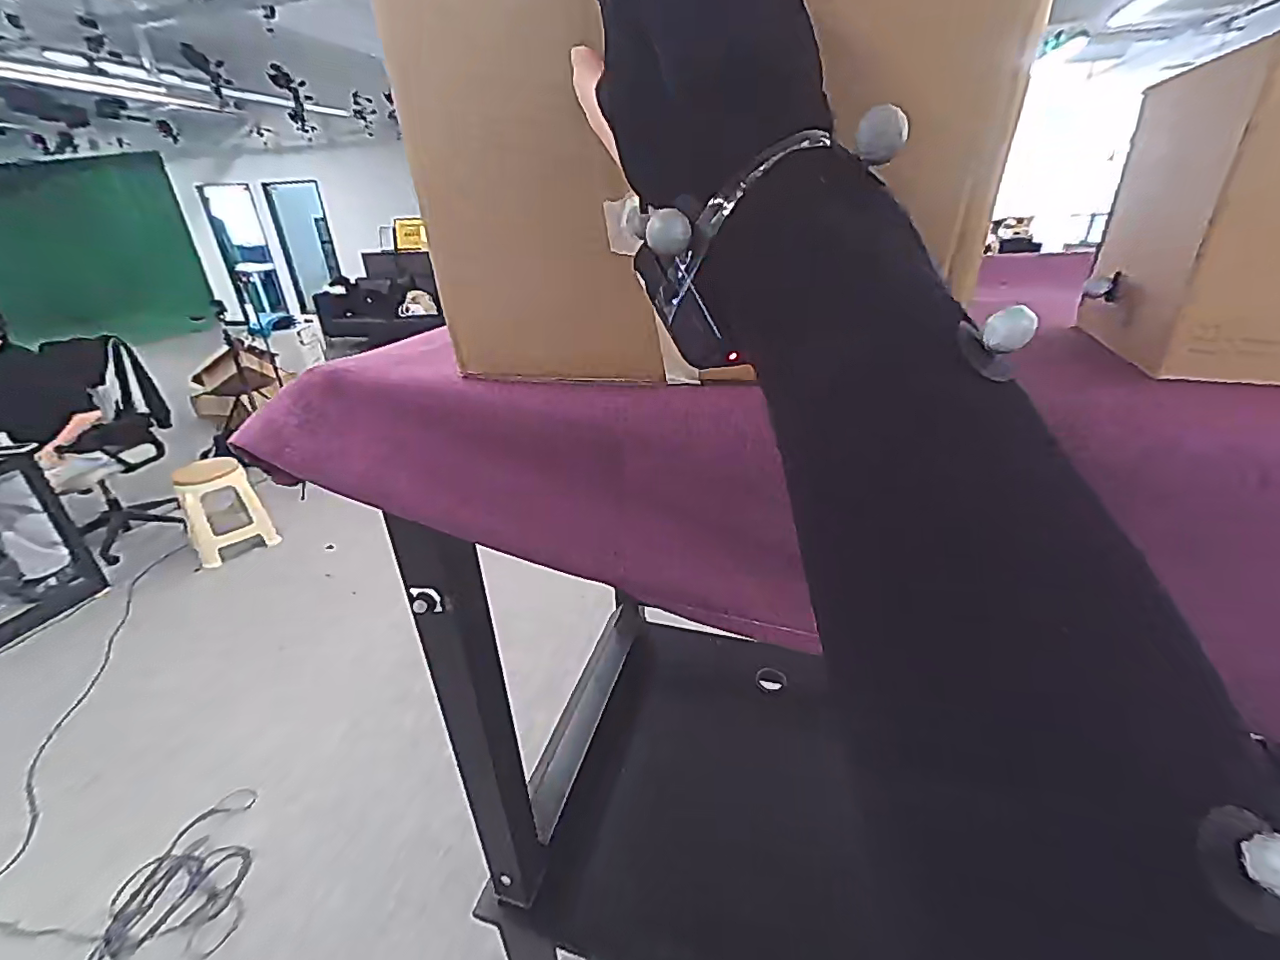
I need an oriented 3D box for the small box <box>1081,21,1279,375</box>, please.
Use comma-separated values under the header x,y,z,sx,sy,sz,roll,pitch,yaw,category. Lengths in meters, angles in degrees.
x,y,z,sx,sy,sz,roll,pitch,yaw,category
0.408,-0.159,0.316,0.179,0.176,0.168,8,28,21,small box
